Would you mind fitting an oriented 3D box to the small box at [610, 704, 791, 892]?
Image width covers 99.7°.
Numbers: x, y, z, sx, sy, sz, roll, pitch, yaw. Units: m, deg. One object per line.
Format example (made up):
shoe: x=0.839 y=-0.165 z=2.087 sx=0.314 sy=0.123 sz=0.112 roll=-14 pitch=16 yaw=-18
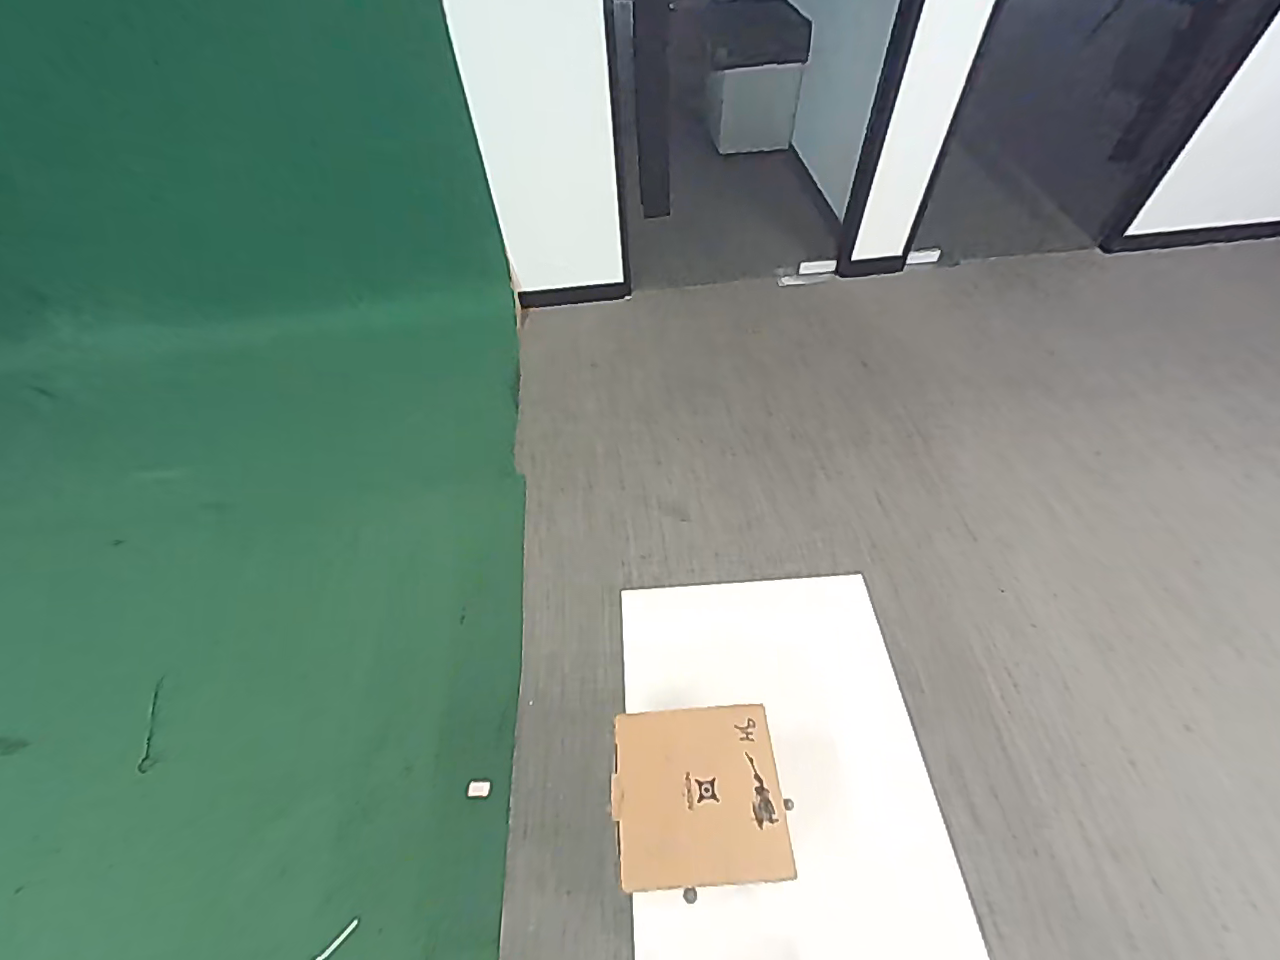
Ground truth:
small box: x=0.060 y=0.376 z=0.635 sx=0.179 sy=0.176 sz=0.168 roll=-3 pitch=52 yaw=-1
